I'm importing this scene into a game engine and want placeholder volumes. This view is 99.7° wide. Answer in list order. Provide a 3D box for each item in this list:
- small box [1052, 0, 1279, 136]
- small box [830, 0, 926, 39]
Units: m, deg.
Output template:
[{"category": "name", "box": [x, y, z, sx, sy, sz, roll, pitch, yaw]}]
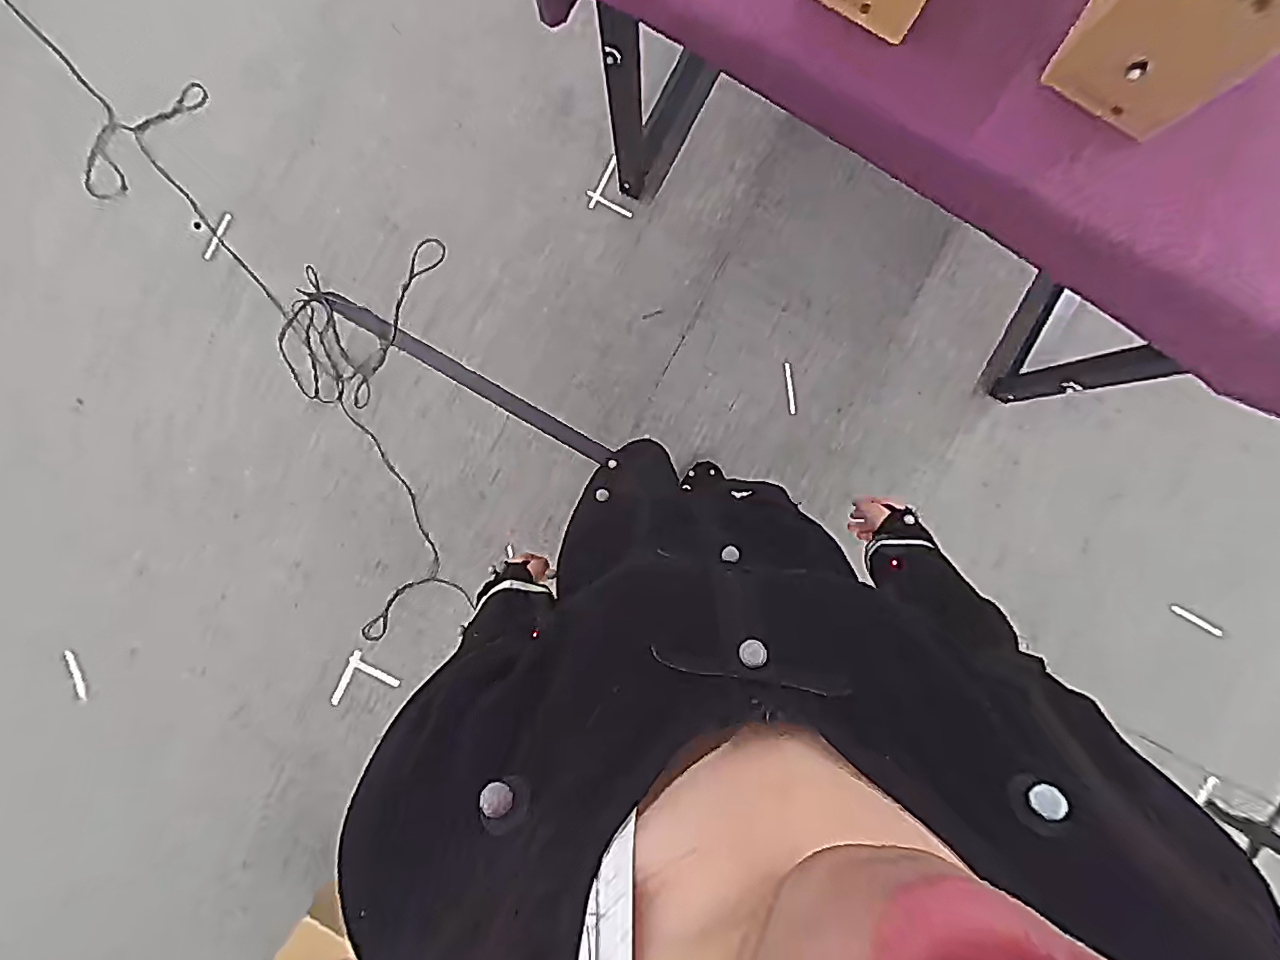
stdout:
[{"category": "small box", "box": [0.647, -0.563, 0.642, 0.168, 0.176, 0.179, 32, 92, -1]}, {"category": "small box", "box": [0.317, -0.694, 0.644, 0.168, 0.176, 0.179, 30, 91, 0]}]
